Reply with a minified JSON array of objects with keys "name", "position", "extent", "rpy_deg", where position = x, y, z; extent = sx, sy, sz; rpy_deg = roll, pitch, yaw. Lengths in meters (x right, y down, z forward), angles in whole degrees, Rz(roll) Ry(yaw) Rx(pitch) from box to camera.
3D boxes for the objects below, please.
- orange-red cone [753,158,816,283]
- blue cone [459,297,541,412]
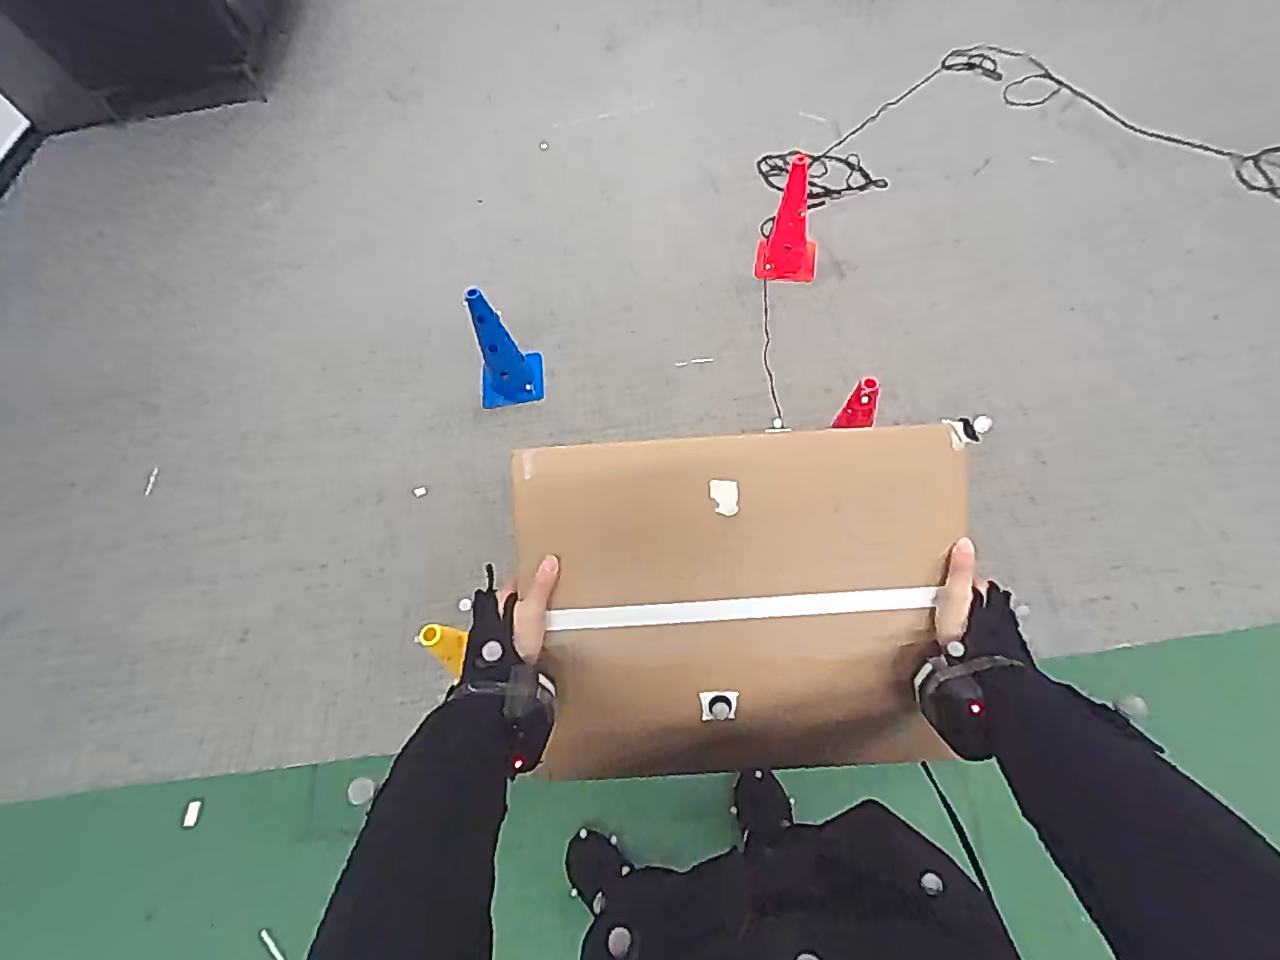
[{"name":"orange-red cone","position":[0.483,-0.840,1.721],"extent":[0.199,0.360,0.198],"rpy_deg":[9,63,12]},{"name":"blue cone","position":[-0.435,-0.390,1.612],"extent":[0.192,0.380,0.193],"rpy_deg":[-9,59,3]}]
